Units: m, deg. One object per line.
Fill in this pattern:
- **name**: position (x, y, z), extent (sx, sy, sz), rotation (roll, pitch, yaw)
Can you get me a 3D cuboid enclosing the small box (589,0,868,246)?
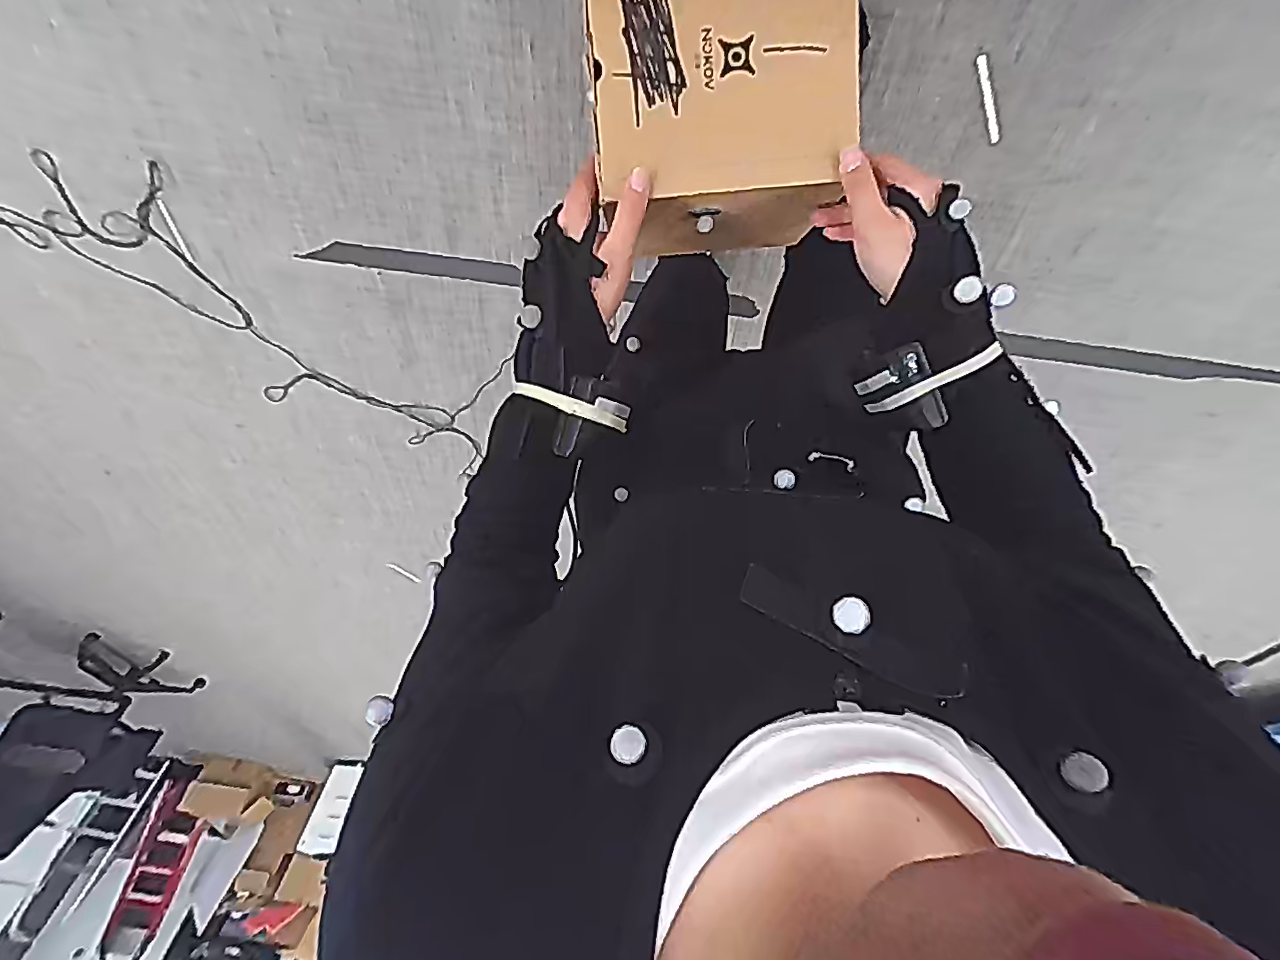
- **small box**: position (0.059, -0.293, 0.422), extent (0.179, 0.176, 0.168), rotation (-4, 99, 1)
